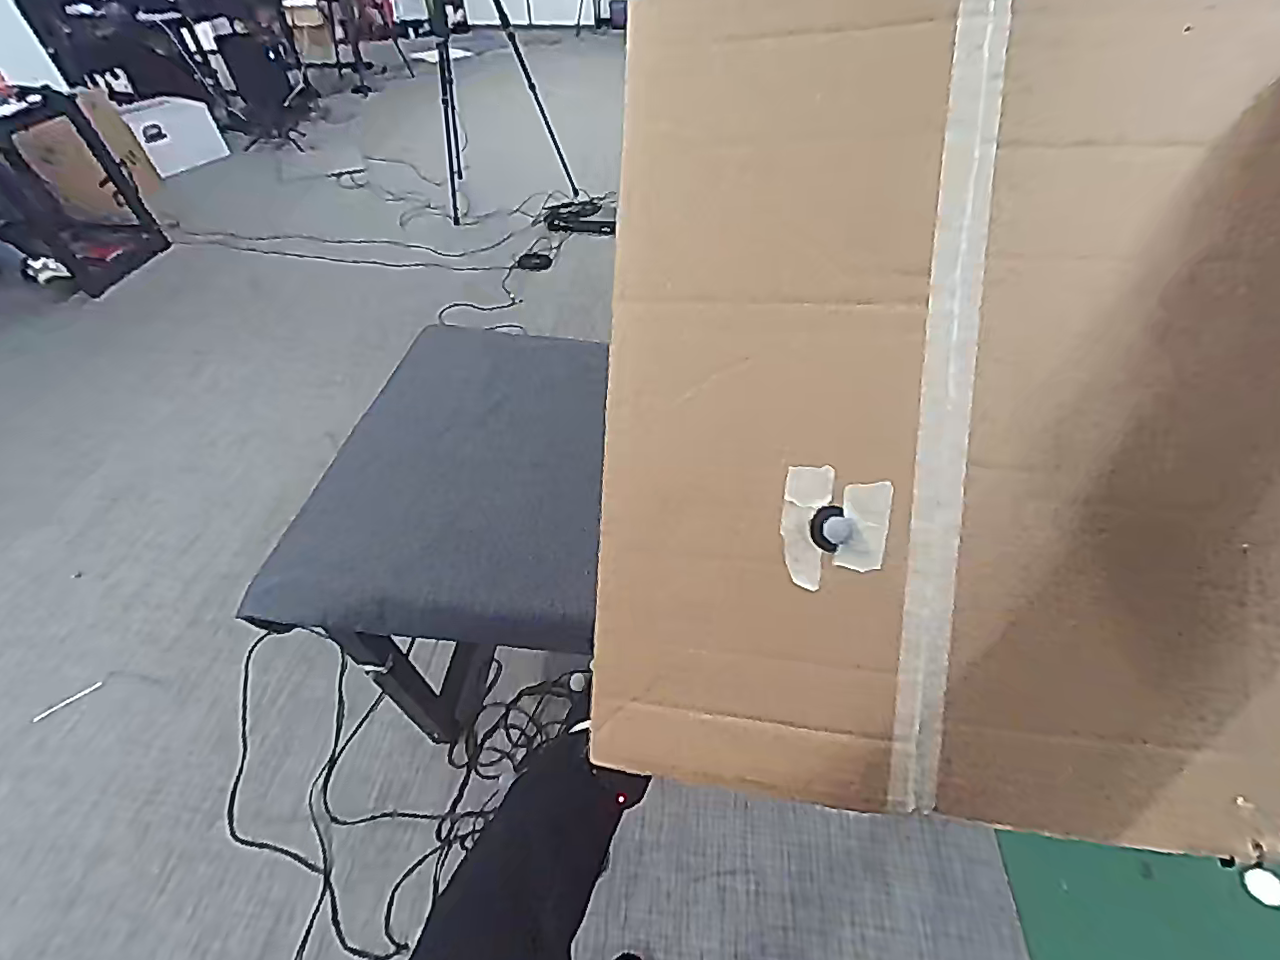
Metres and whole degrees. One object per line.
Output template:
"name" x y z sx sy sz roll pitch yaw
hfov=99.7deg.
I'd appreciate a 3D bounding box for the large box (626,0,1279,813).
"large box" 0.168 -0.053 0.412 0.320 0.408 0.320 3 5 9
